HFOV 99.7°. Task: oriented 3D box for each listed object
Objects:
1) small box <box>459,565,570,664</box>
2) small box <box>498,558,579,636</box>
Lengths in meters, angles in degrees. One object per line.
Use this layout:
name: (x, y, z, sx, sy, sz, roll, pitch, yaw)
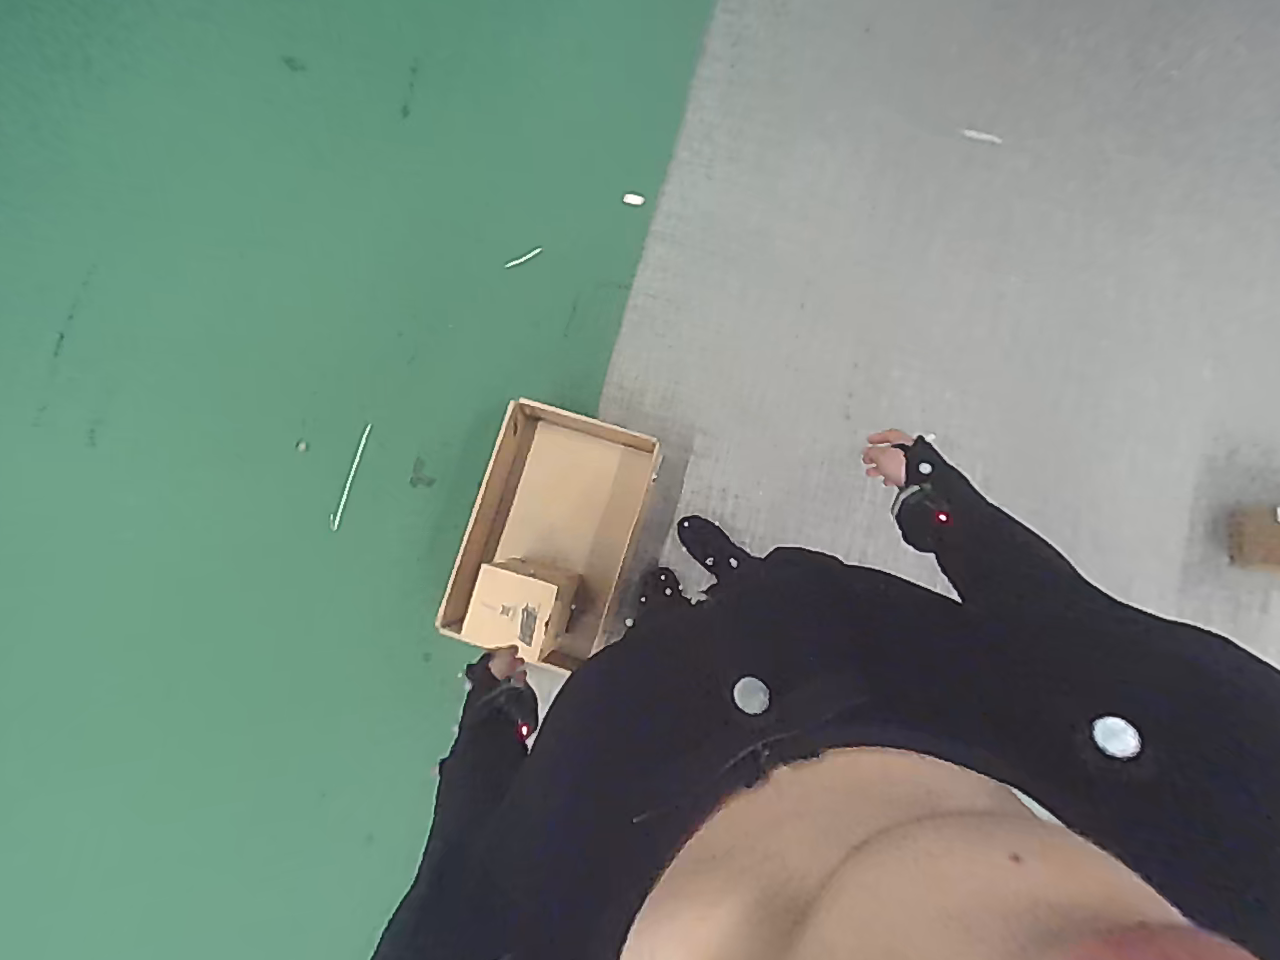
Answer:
small box: (-0.264, 0.285, 1.189, 0.179, 0.176, 0.168, 15, 83, 5)
small box: (-0.266, 0.297, 1.353, 0.179, 0.176, 0.168, 14, 84, 4)
